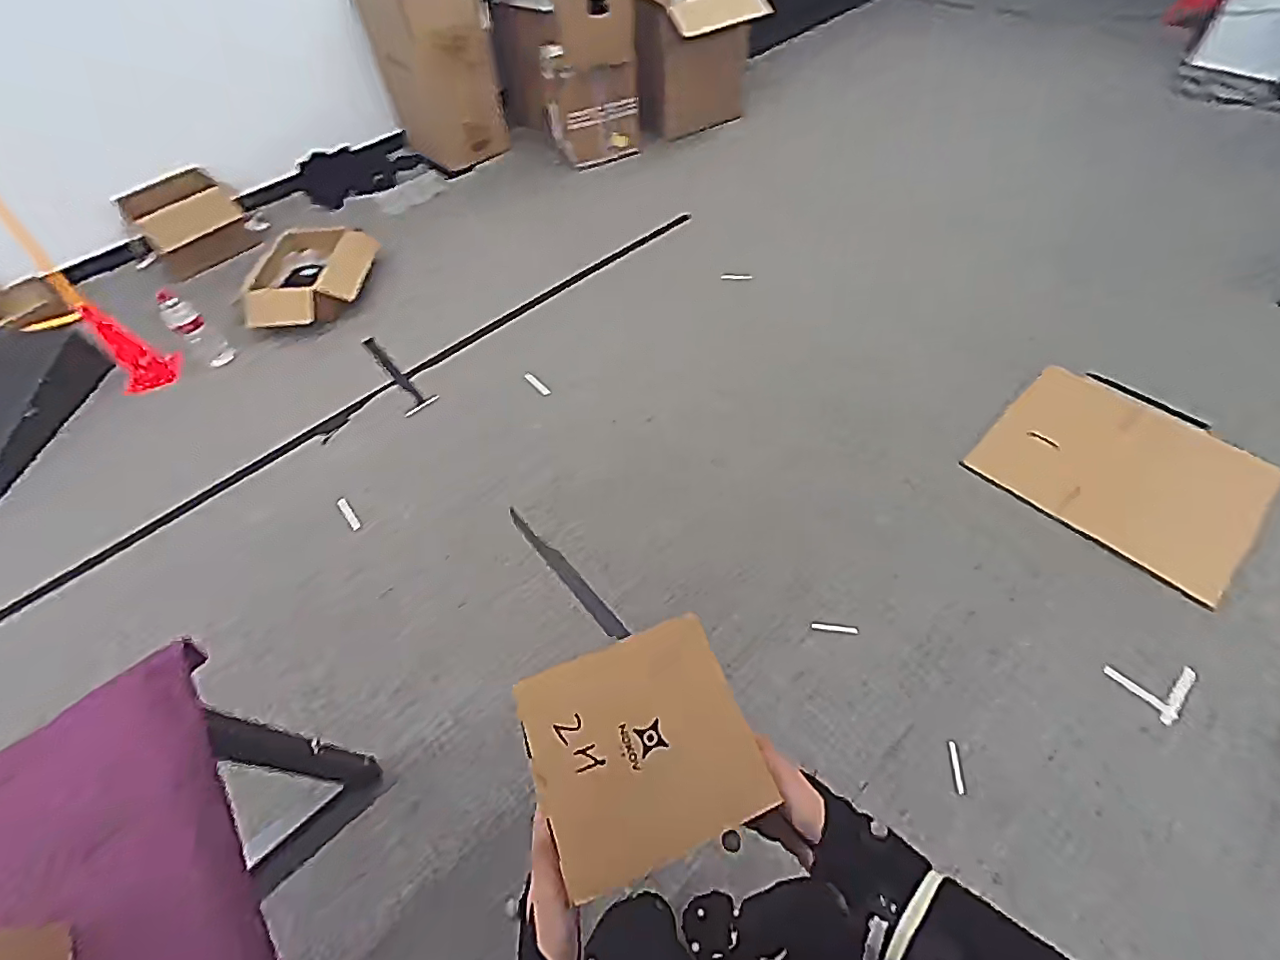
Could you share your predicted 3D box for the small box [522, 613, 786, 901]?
[{"bbox_3d":[0.005,0.250,0.507,0.179,0.176,0.168,-18,61,-11],"label":"small box"}]
